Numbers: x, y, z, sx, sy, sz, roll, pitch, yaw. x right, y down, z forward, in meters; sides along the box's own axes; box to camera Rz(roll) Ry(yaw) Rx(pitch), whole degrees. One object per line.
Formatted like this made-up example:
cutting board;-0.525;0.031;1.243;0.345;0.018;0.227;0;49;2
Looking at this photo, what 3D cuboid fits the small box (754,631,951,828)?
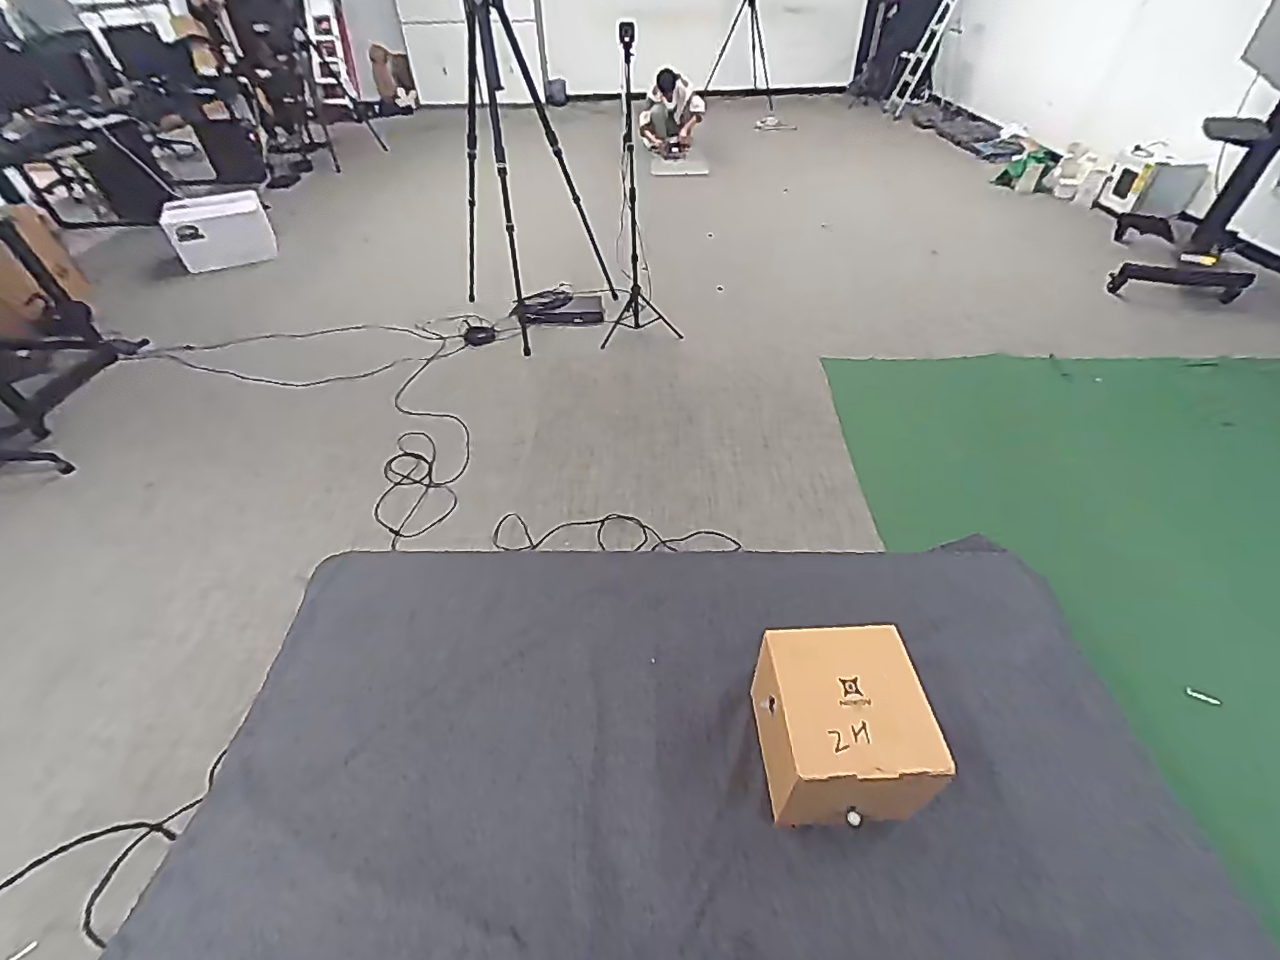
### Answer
small box;0.244;0.311;0.678;0.168;0.176;0.179;-2;43;1
